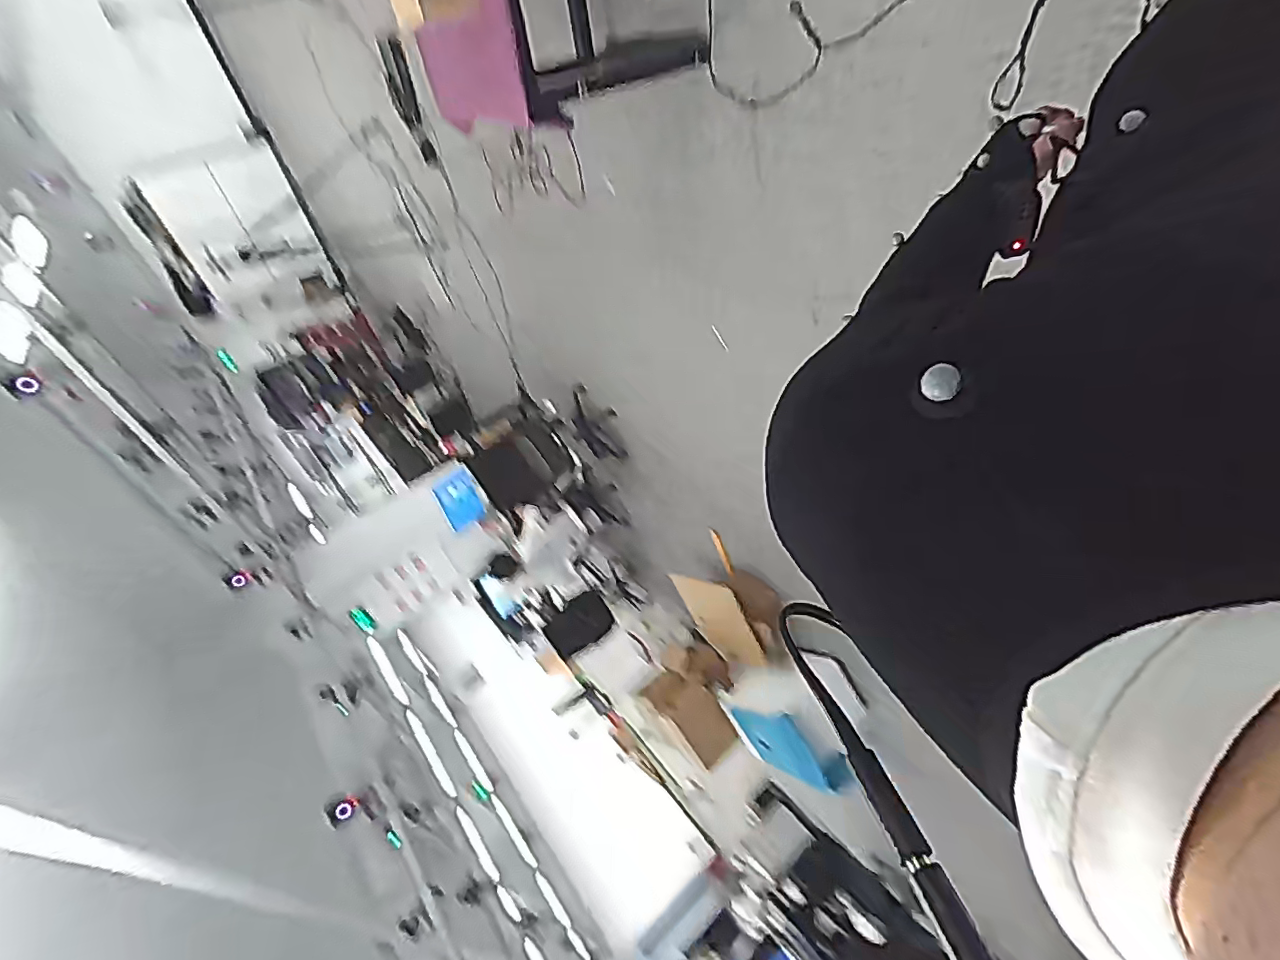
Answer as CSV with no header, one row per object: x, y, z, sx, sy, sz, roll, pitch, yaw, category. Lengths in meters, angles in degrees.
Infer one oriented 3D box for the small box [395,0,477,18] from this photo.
-0.529,-1.283,1.350,0.179,0.176,0.168,34,149,42,small box
